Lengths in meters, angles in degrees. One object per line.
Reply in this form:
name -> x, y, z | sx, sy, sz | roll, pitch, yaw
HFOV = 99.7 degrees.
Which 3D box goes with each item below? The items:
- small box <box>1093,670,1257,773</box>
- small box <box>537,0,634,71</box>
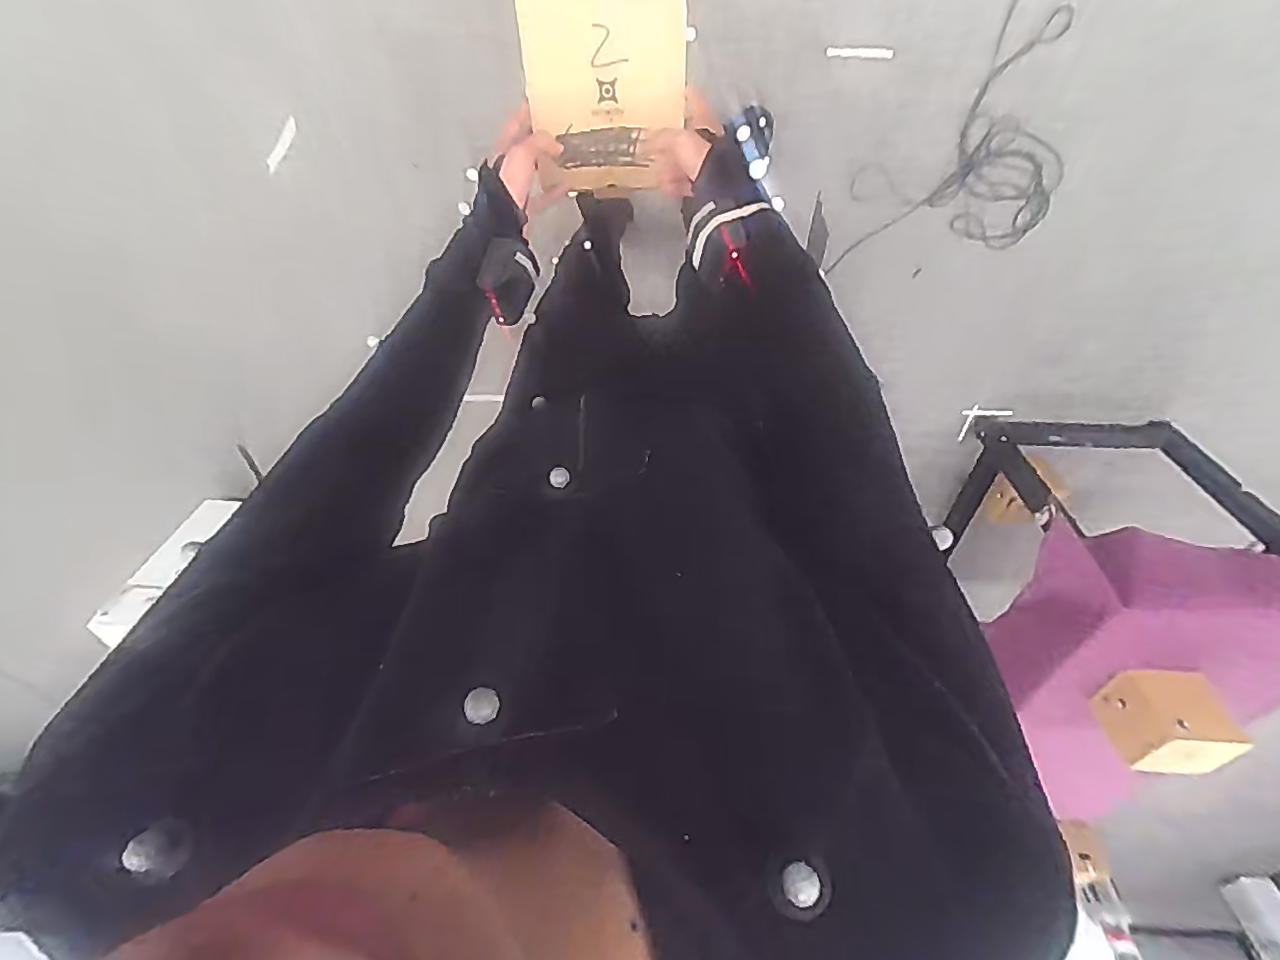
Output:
small box -> 1.229, 0.560, 1.261 | 0.179, 0.176, 0.168 | 2, 131, 2
small box -> -0.101, -0.905, 1.031 | 0.168, 0.176, 0.179 | 6, 131, -1
